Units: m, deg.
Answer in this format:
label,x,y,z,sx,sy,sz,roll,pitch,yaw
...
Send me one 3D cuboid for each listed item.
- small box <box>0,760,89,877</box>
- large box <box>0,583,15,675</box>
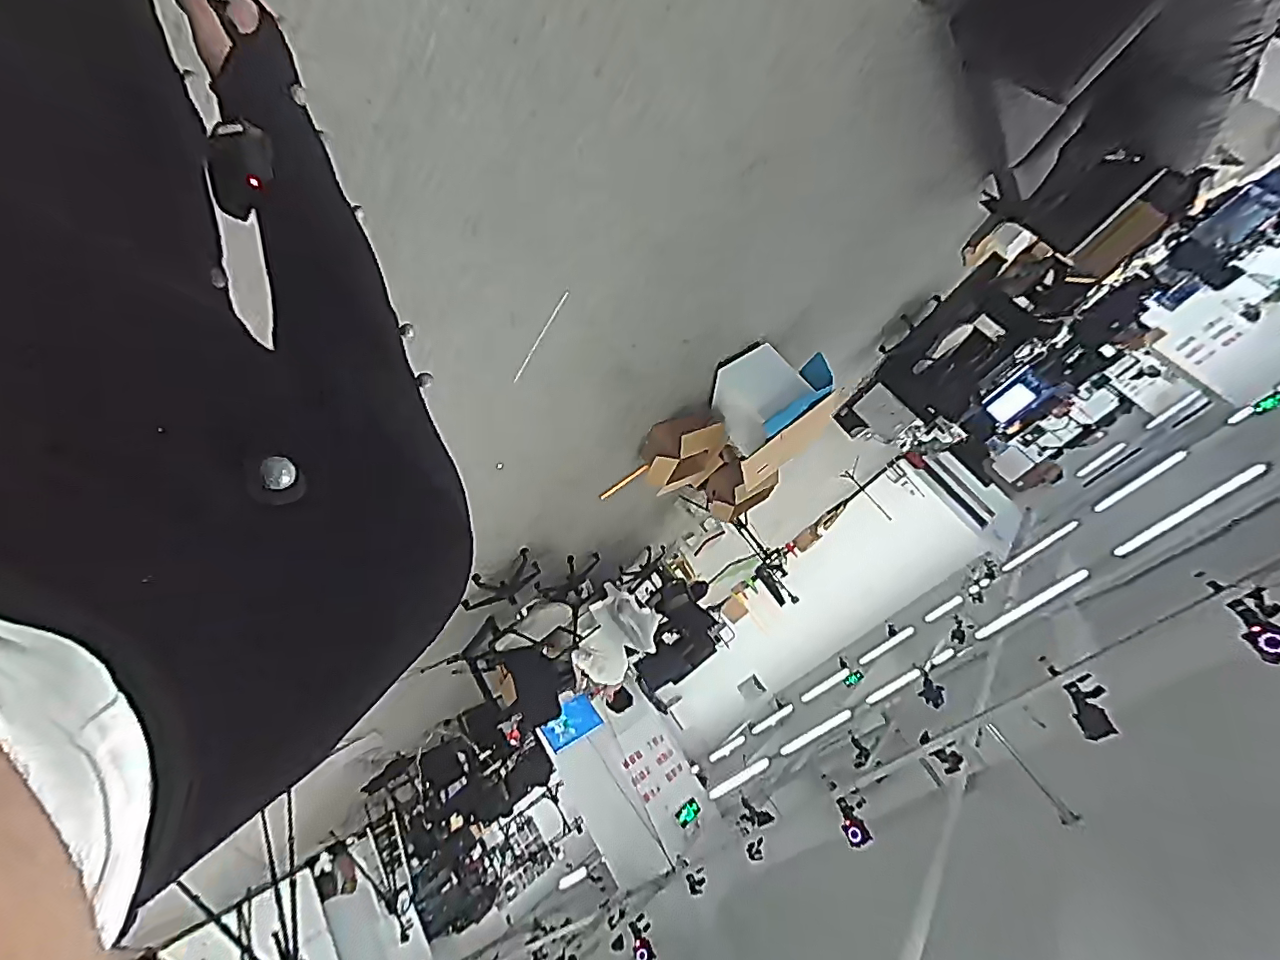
label,x,y,z,sx,sy,sz,roll,pitch,yaw
small box,-1.464,0.811,1.304,0.168,0.176,0.179,-8,146,-50
large box,-1.940,0.346,1.442,0.320,0.320,0.408,-8,146,-50
